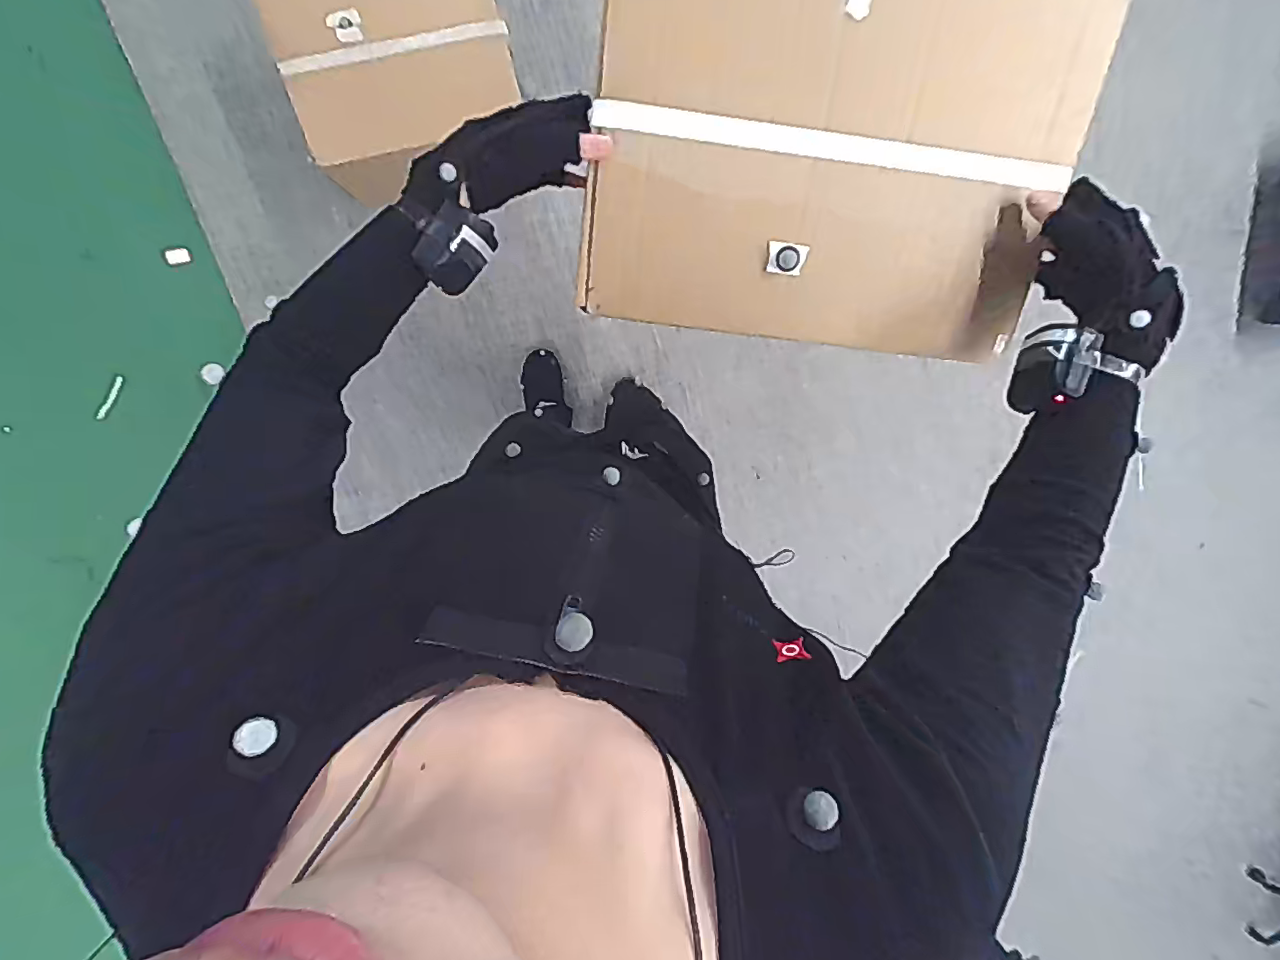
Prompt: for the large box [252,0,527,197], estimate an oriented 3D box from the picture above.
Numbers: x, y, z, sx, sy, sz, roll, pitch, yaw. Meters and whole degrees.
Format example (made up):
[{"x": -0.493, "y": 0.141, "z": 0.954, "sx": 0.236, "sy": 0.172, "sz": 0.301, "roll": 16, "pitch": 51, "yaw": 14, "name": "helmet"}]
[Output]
[{"x": -0.472, "y": -0.819, "z": 1.107, "sx": 0.408, "sy": 0.320, "sz": 0.320, "roll": -17, "pitch": 106, "yaw": -6, "name": "large box"}]
